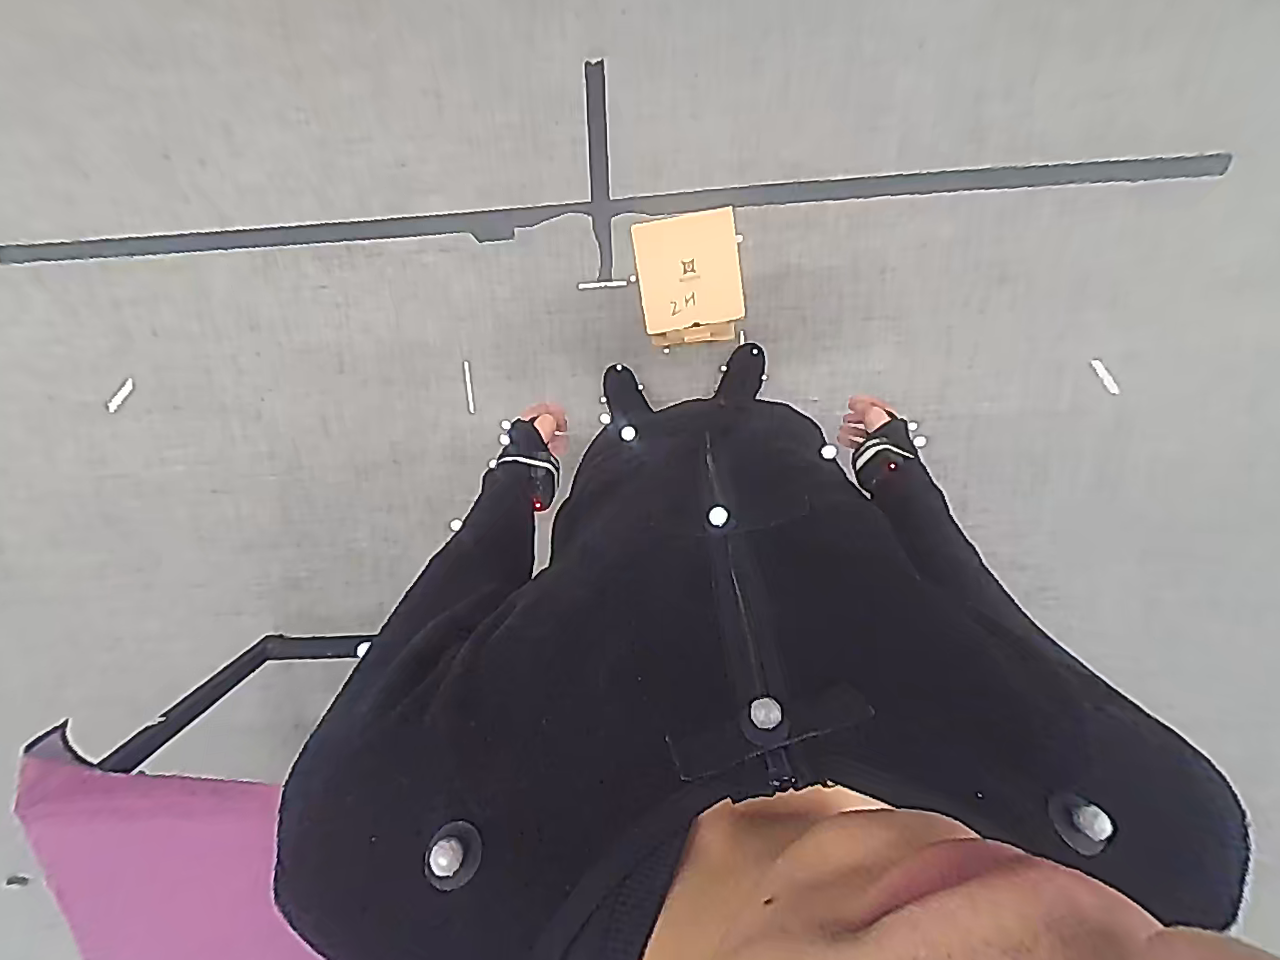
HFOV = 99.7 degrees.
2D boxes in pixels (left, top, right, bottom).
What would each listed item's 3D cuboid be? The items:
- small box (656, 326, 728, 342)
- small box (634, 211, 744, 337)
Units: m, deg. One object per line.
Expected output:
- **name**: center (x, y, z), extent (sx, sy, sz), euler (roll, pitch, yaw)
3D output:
- **small box**: center (0.120, -0.421, 1.281), extent (0.168, 0.176, 0.179), euler (2, 106, 2)
- **small box**: center (0.083, -0.354, 0.960), extent (0.168, 0.176, 0.179), euler (-8, 105, 5)
